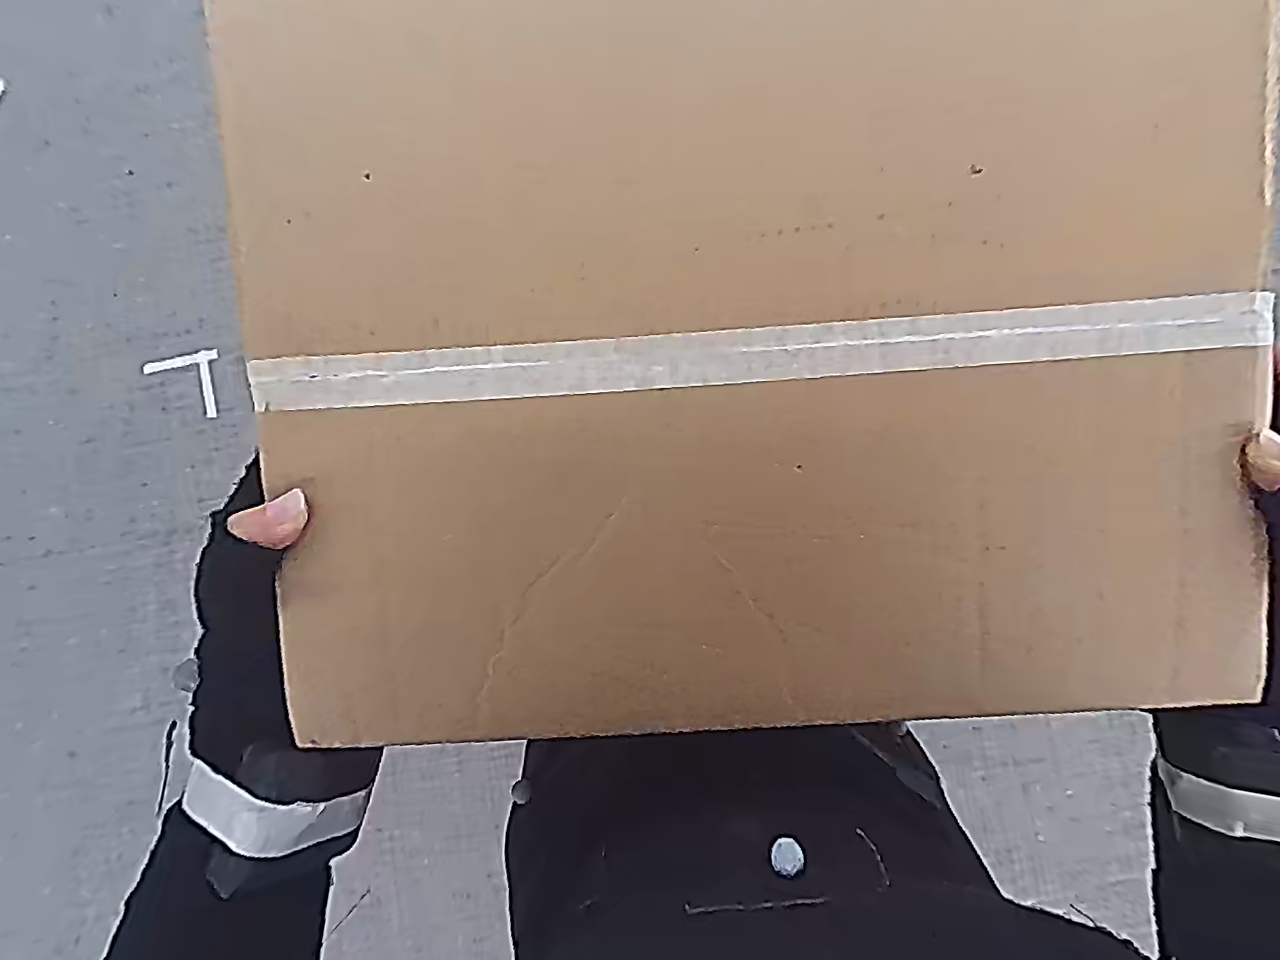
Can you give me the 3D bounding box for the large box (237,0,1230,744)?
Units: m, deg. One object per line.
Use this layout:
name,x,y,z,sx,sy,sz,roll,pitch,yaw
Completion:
large box,0.046,-0.060,0.377,0.408,0.320,0.320,-4,94,1
